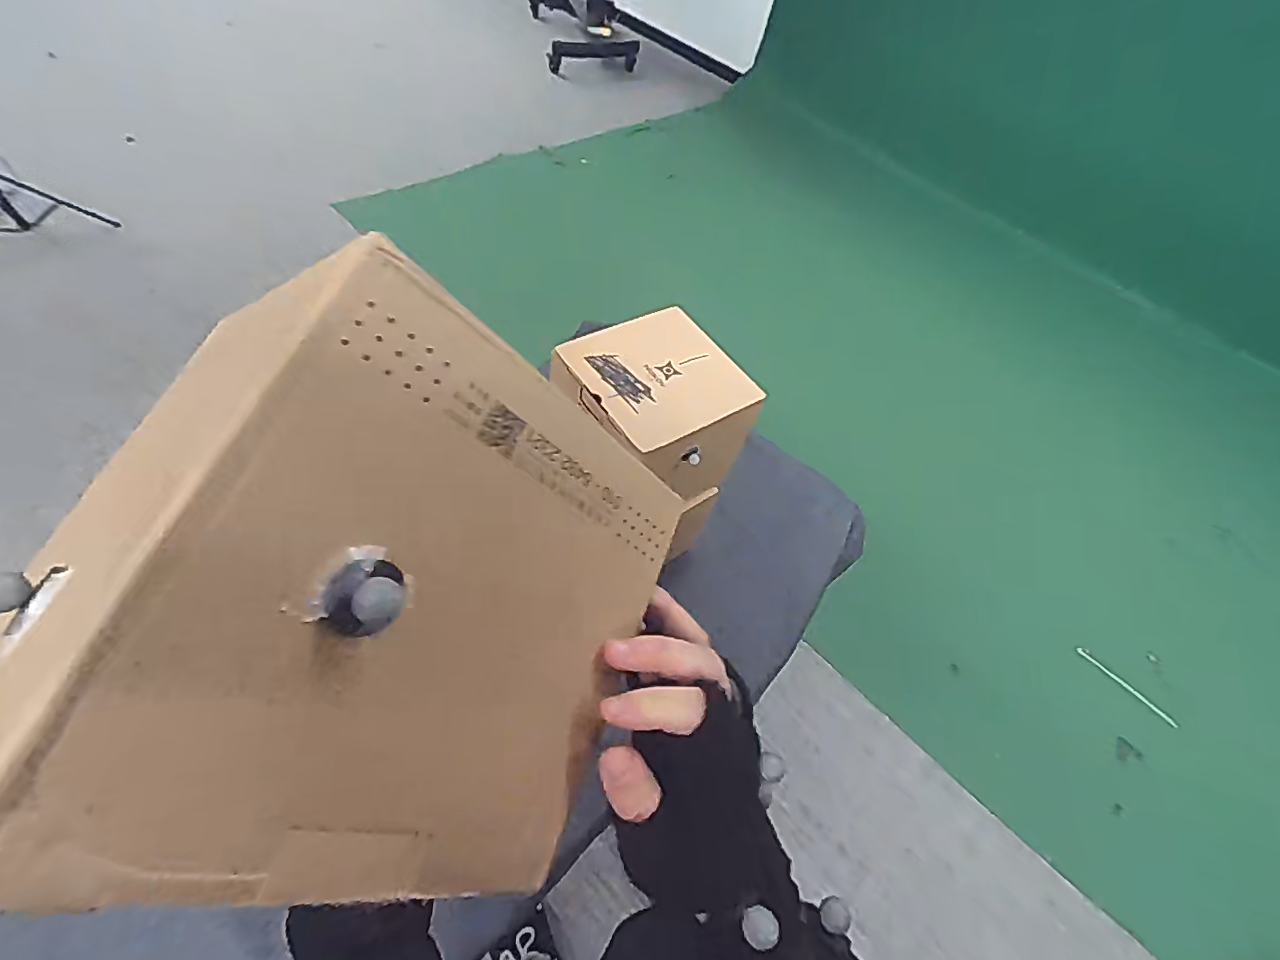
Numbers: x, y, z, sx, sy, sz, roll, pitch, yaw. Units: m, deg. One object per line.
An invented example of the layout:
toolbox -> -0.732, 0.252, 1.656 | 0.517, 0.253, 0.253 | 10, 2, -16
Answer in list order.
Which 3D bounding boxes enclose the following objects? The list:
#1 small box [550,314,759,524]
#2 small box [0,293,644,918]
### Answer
small box -> 0.006, -0.064, 0.650 | 0.179, 0.176, 0.168 | -27, 65, -27
small box -> -0.117, 0.043, 0.237 | 0.179, 0.168, 0.176 | 4, 63, 41
